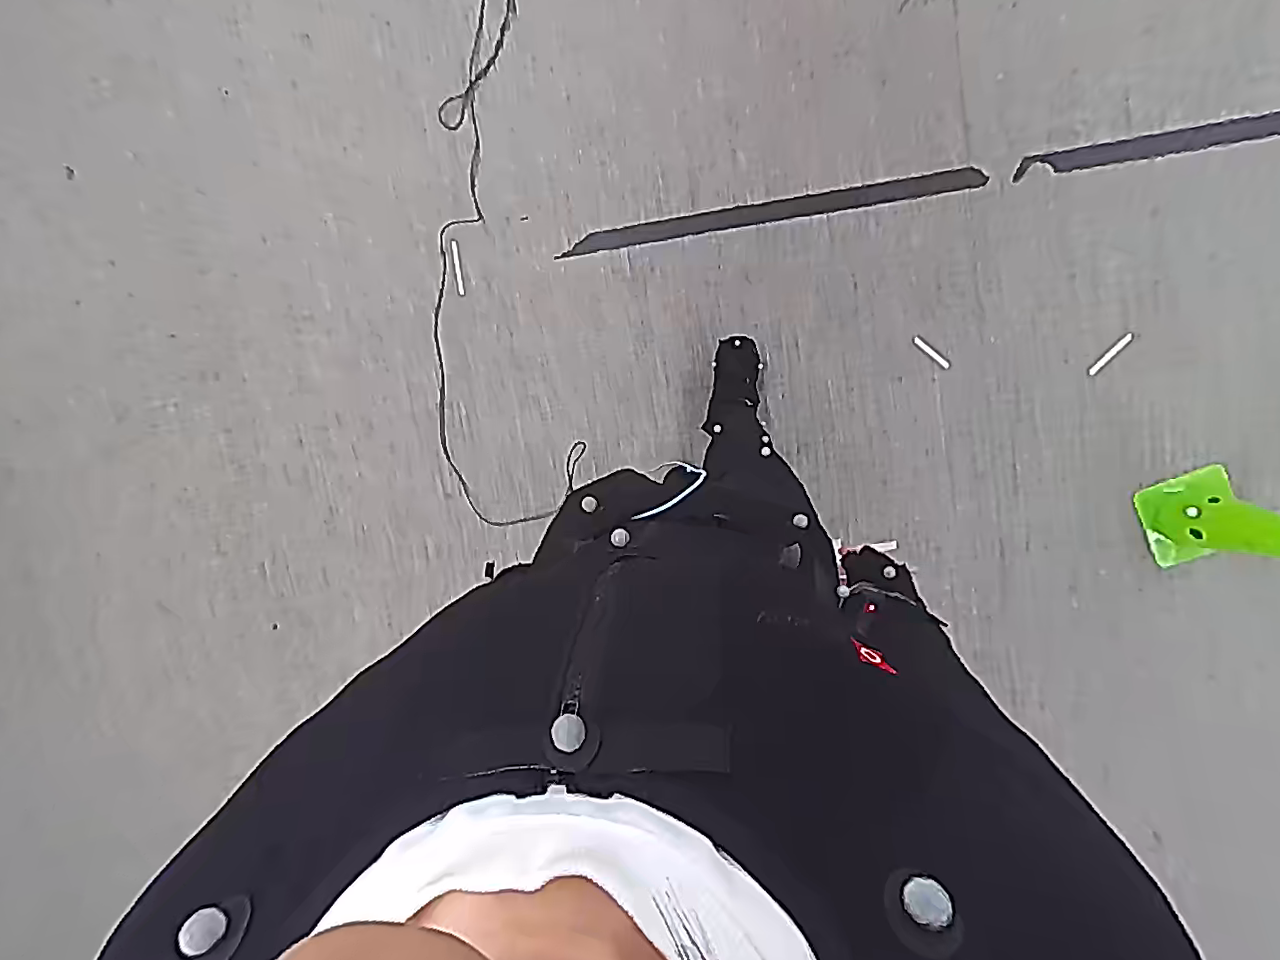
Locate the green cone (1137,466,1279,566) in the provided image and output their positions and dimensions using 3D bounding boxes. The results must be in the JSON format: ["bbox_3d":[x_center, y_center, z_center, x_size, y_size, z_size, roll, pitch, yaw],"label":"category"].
[{"bbox_3d":[1.275,0.106,1.101,0.202,0.368,0.200,-23,93,10],"label":"green cone"}]
